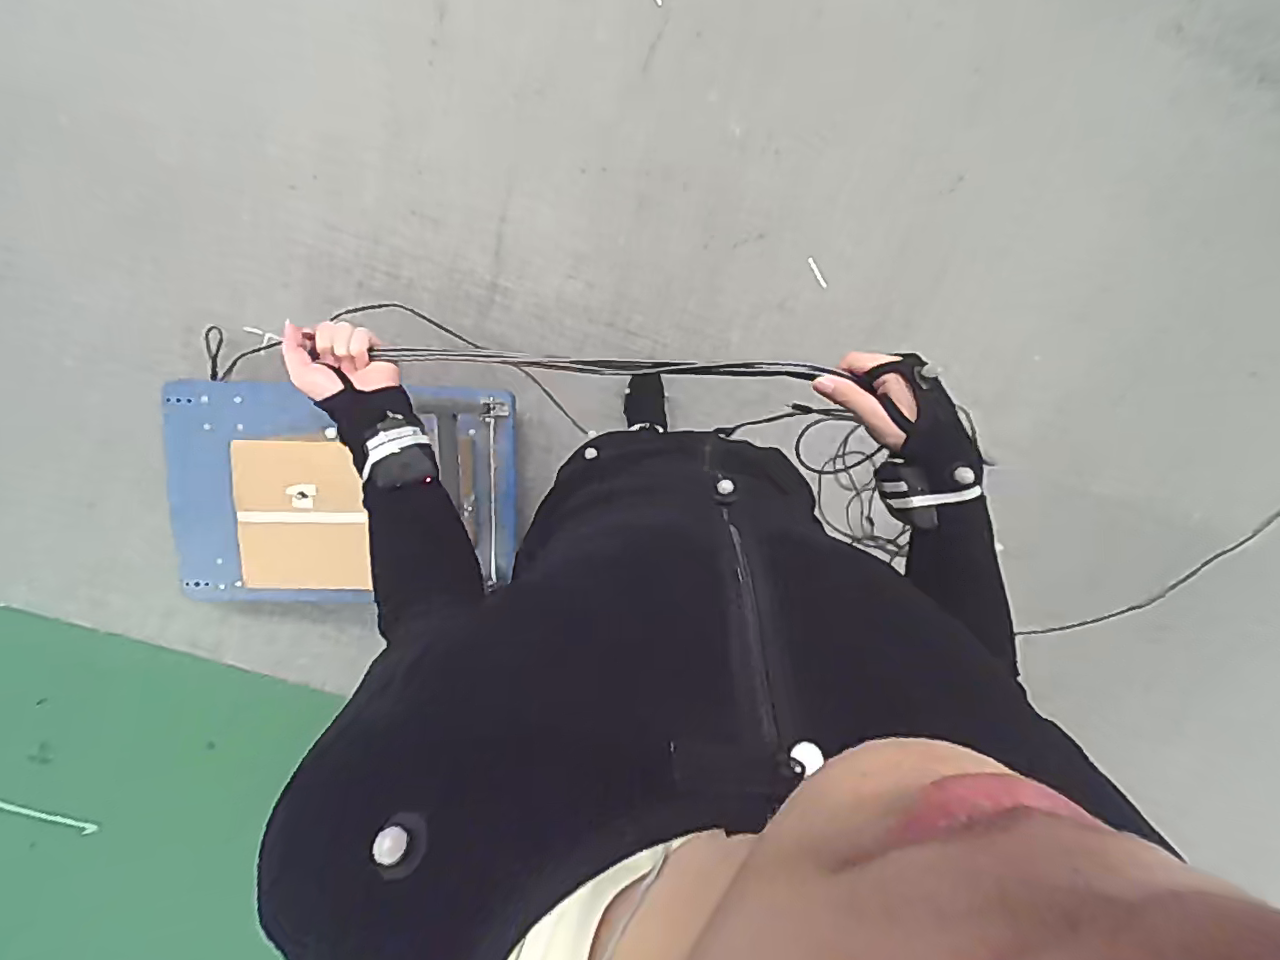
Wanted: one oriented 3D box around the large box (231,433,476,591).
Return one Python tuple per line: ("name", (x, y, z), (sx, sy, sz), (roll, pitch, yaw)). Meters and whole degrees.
("large box", (-0.623, 0.056, 1.250), (0.408, 0.320, 0.320), (1, 98, -2))
